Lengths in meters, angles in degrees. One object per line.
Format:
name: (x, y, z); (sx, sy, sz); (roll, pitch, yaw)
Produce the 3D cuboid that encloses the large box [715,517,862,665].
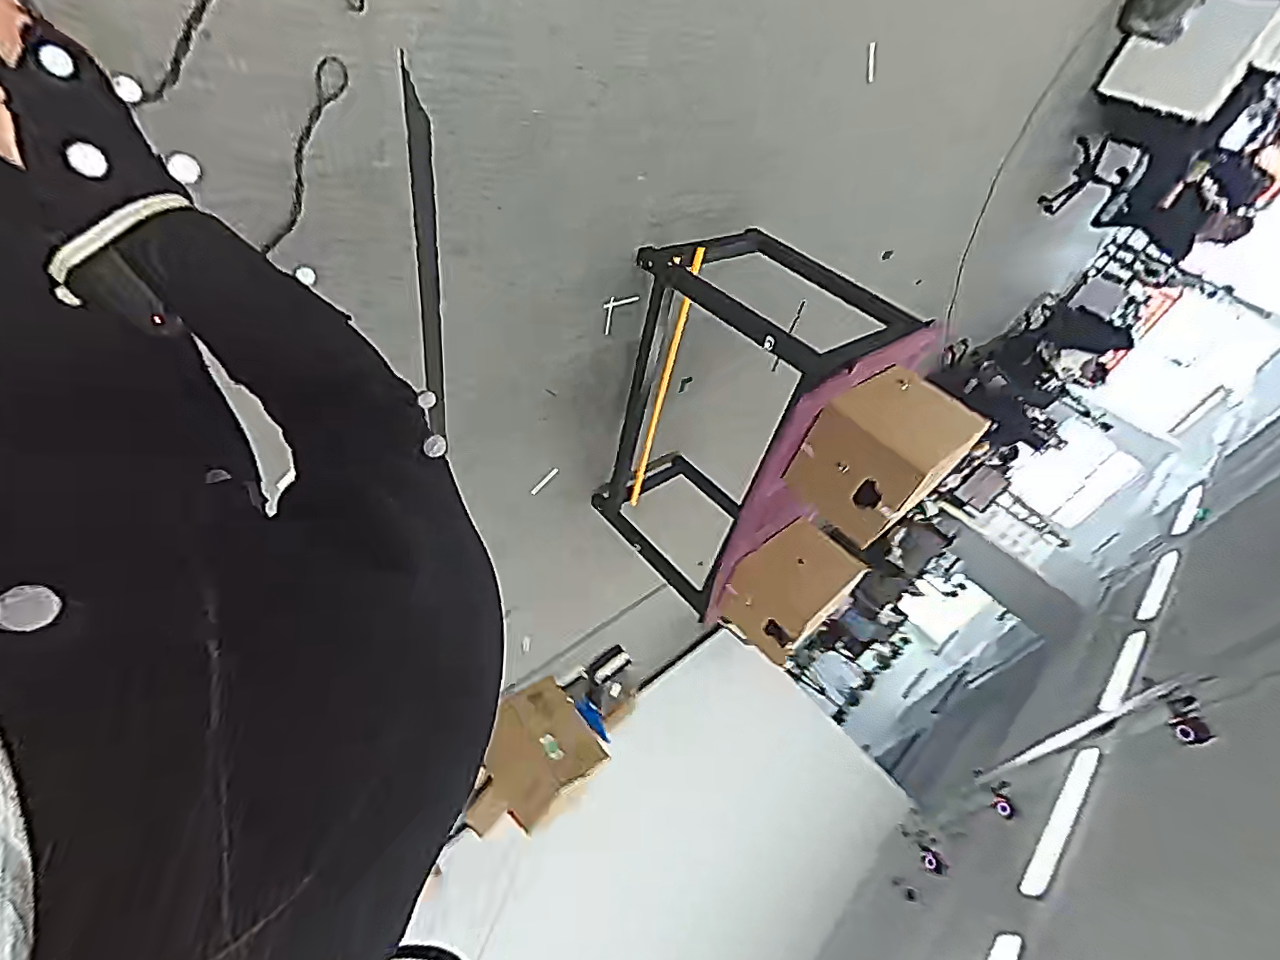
large box: (0.553, 0.409, 2.049); (0.408, 0.320, 0.320); (-28, 148, -36)
